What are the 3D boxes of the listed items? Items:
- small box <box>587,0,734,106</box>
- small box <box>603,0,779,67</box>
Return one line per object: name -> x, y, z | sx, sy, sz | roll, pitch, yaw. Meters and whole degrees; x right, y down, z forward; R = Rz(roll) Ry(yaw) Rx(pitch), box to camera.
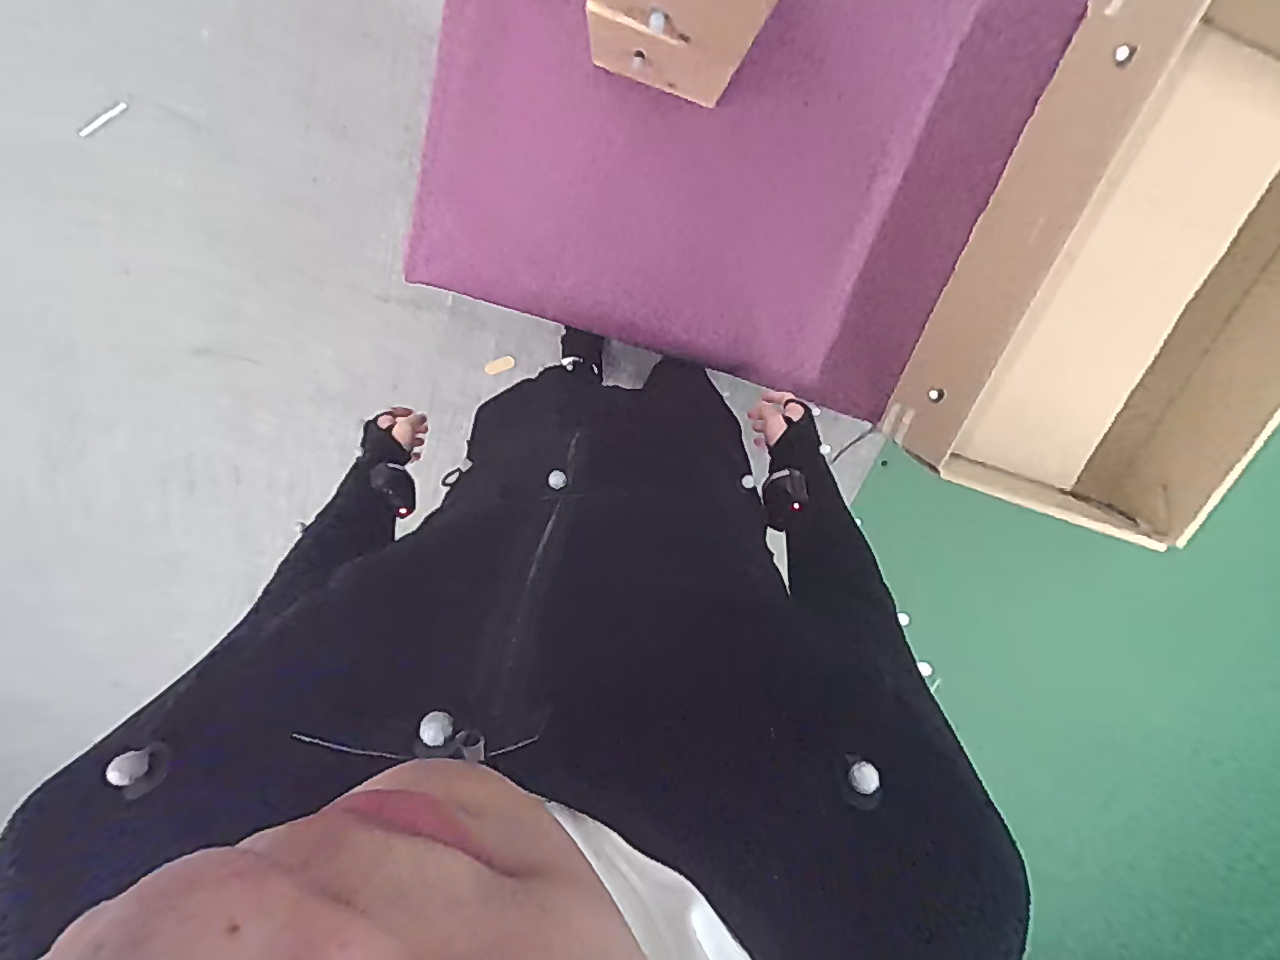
small box -> 0.047, -0.557, 0.604 | 0.168, 0.176, 0.179 | 15, 109, -8
small box -> 0.061, -0.500, 0.450 | 0.168, 0.176, 0.179 | 20, 109, -9
